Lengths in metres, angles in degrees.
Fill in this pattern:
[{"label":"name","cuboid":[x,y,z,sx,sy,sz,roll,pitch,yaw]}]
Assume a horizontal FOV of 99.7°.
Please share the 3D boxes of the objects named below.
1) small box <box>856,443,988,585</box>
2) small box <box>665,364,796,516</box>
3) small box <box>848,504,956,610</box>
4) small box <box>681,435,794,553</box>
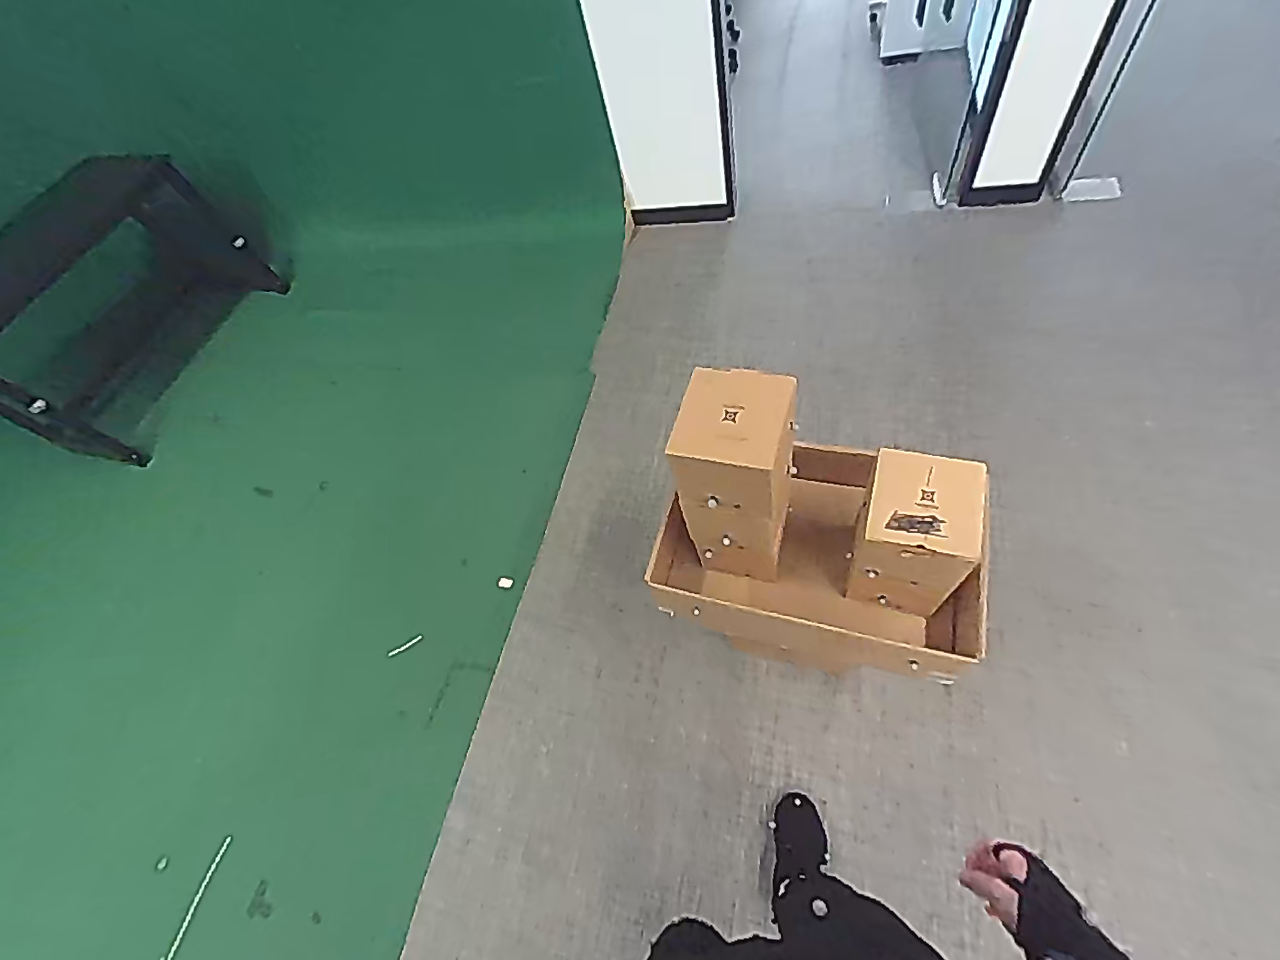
[{"label":"small box","cuboid":[0.475,0.063,0.928,0.168,0.176,0.179,11,64,20]},{"label":"small box","cuboid":[0.155,-0.064,0.891,0.168,0.176,0.179,10,64,21]},{"label":"small box","cuboid":[0.515,0.136,1.070,0.168,0.176,0.179,9,65,19]},{"label":"small box","cuboid":[0.191,0.014,1.030,0.168,0.176,0.179,11,64,21]}]
